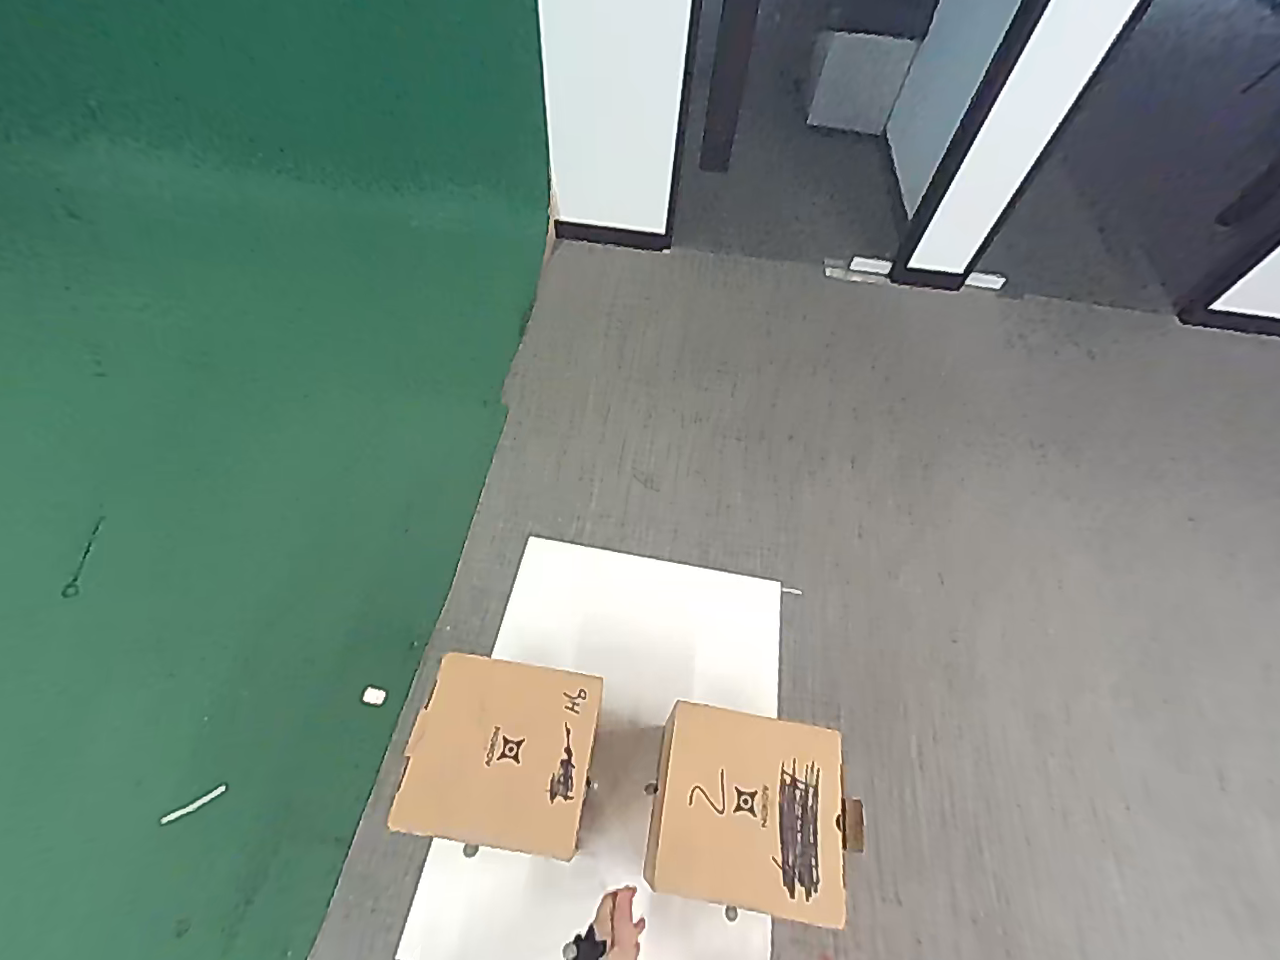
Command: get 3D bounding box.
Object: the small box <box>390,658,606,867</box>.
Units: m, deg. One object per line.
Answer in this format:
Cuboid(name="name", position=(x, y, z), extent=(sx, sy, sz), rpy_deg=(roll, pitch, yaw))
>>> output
Cuboid(name="small box", position=(-0.139, 0.316, 0.602), extent=(0.179, 0.176, 0.168), rpy_deg=(9, 57, 1))
